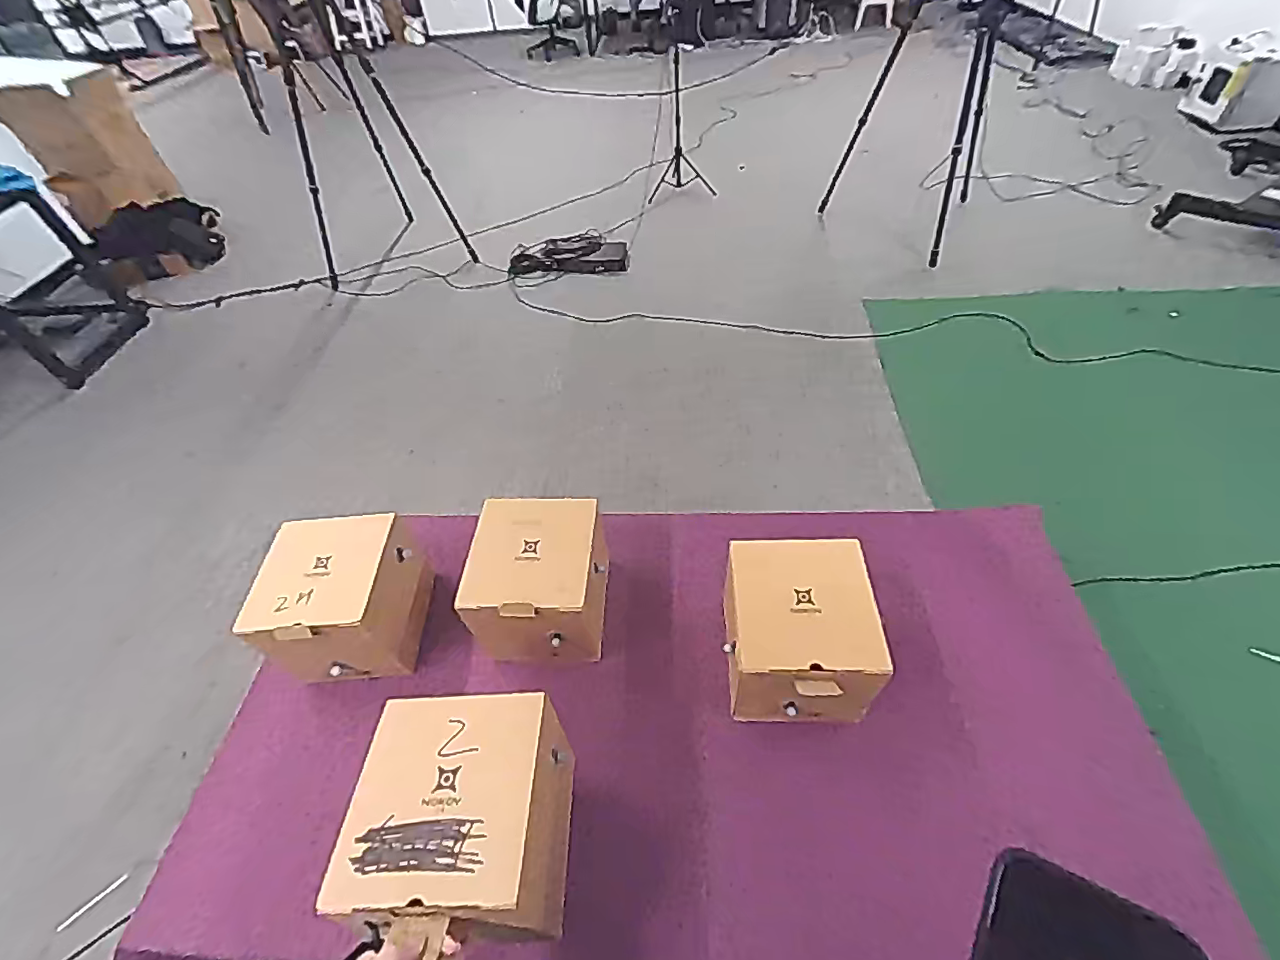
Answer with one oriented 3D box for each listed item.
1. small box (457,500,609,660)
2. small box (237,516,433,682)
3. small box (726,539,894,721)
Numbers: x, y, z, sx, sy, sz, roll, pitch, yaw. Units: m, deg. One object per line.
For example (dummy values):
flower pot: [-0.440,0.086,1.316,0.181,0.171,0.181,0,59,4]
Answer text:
small box: [-0.138,0.147,0.781,0.168,0.176,0.179,0,49,4]
small box: [-0.420,0.174,0.785,0.168,0.176,0.179,-5,49,2]
small box: [0.202,0.196,0.704,0.168,0.176,0.179,-2,50,5]
